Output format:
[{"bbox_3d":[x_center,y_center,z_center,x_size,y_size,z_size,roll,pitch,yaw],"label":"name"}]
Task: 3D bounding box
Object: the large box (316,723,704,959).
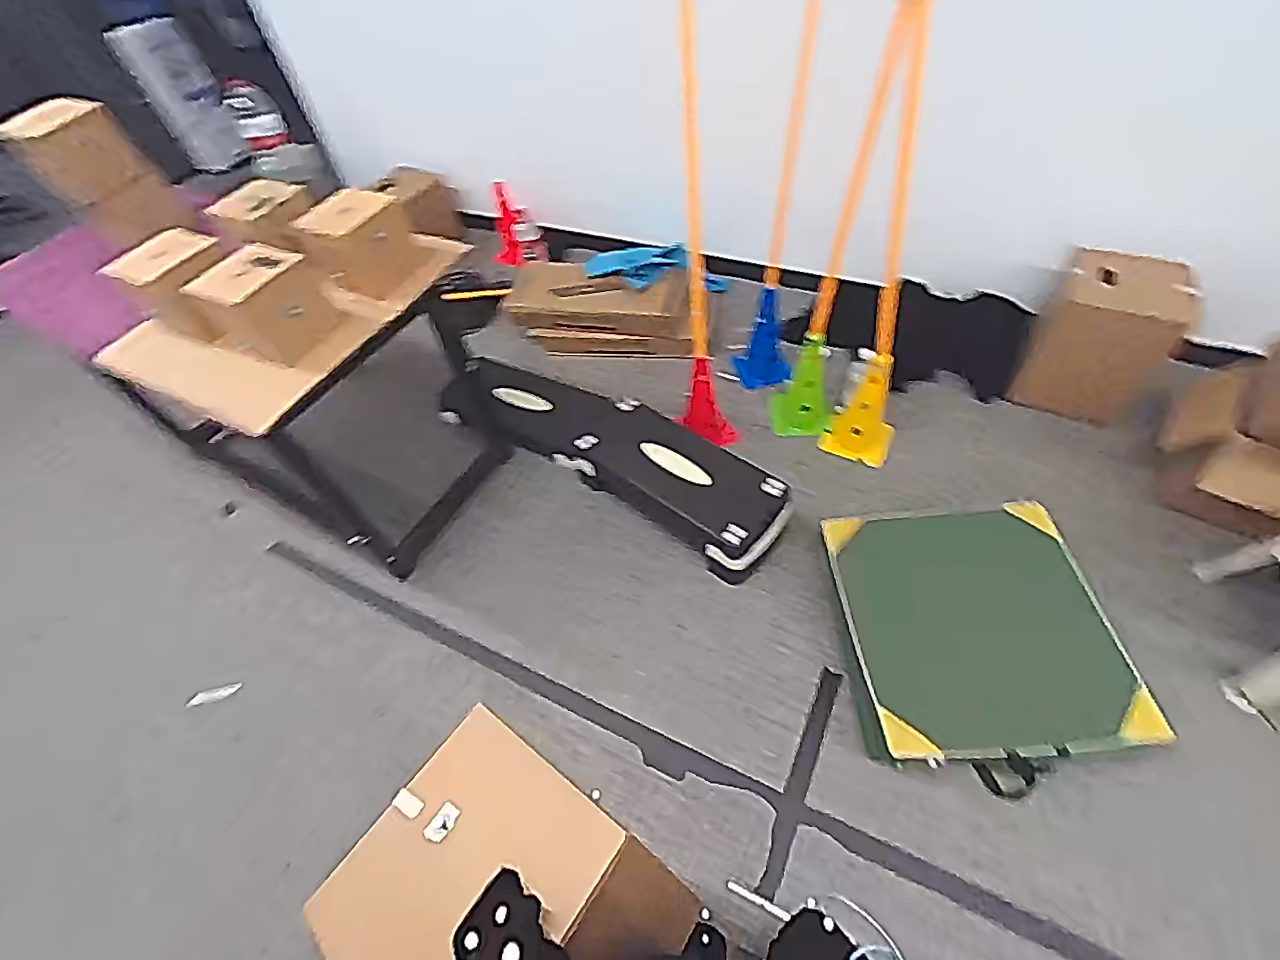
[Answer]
[{"bbox_3d":[-0.154,0.630,0.781,0.320,0.408,0.320,20,56,38],"label":"large box"}]
